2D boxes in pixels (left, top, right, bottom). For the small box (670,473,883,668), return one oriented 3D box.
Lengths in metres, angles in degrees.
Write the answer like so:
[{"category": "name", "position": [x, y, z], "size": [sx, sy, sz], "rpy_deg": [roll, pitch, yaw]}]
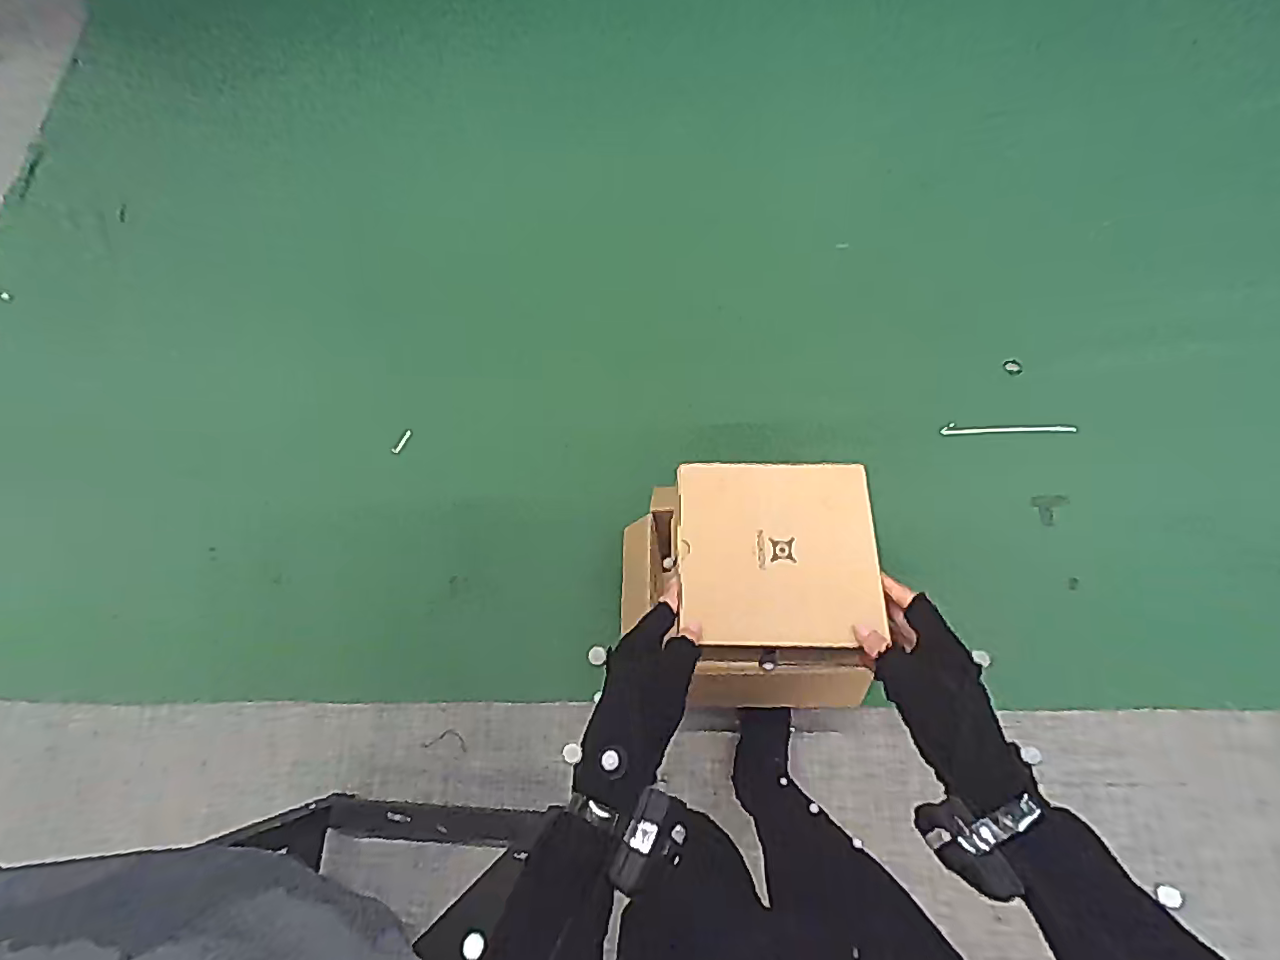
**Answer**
[{"category": "small box", "position": [0.121, 0.100, 0.554], "size": [0.179, 0.176, 0.168], "rpy_deg": [0, 67, 3]}]
